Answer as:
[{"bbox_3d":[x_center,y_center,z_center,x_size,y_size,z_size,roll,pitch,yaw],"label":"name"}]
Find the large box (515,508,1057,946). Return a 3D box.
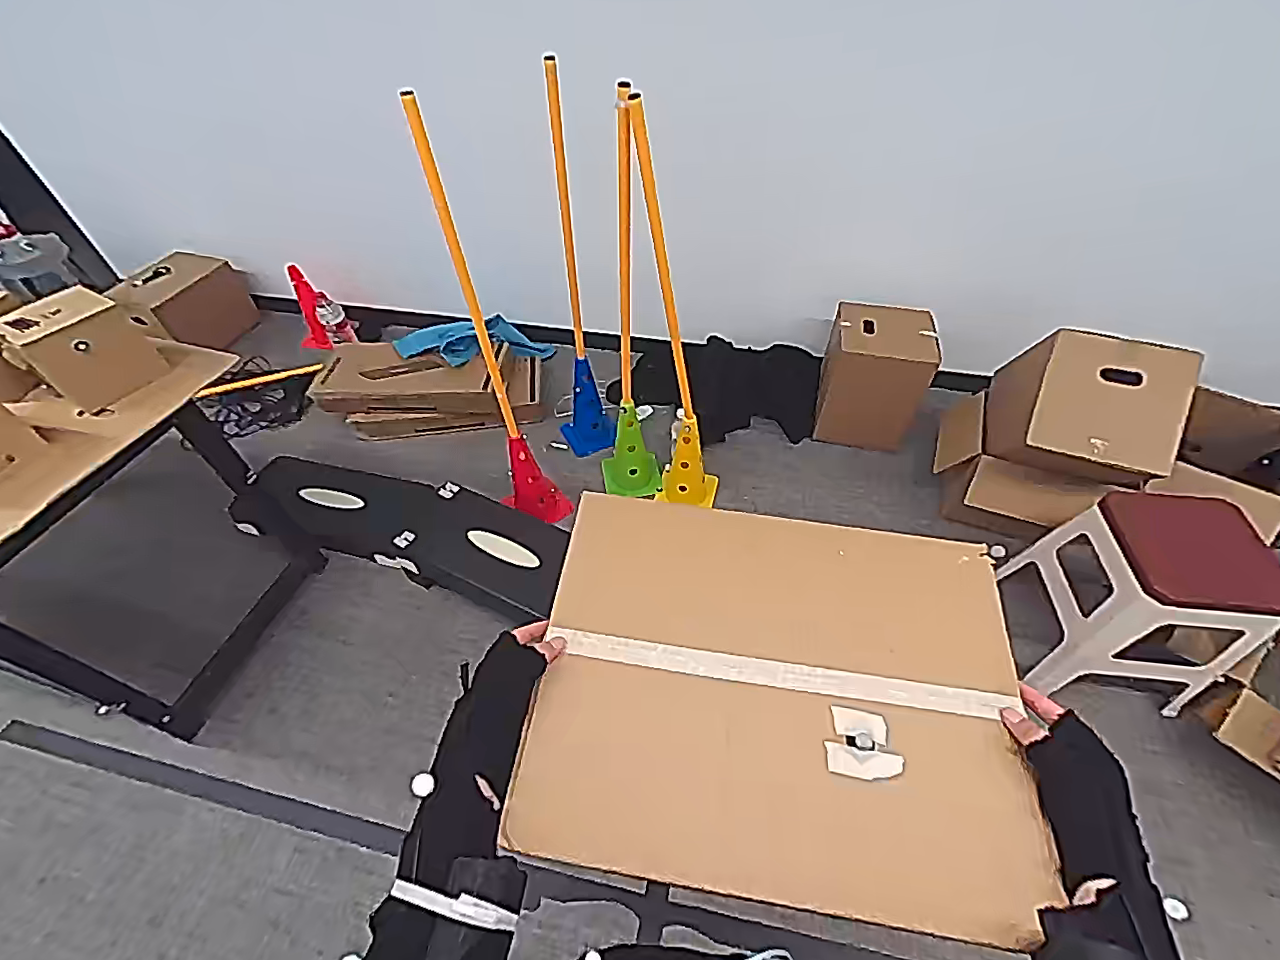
[{"bbox_3d":[0.116,0.261,0.597,0.408,0.320,0.320,8,57,4],"label":"large box"}]
